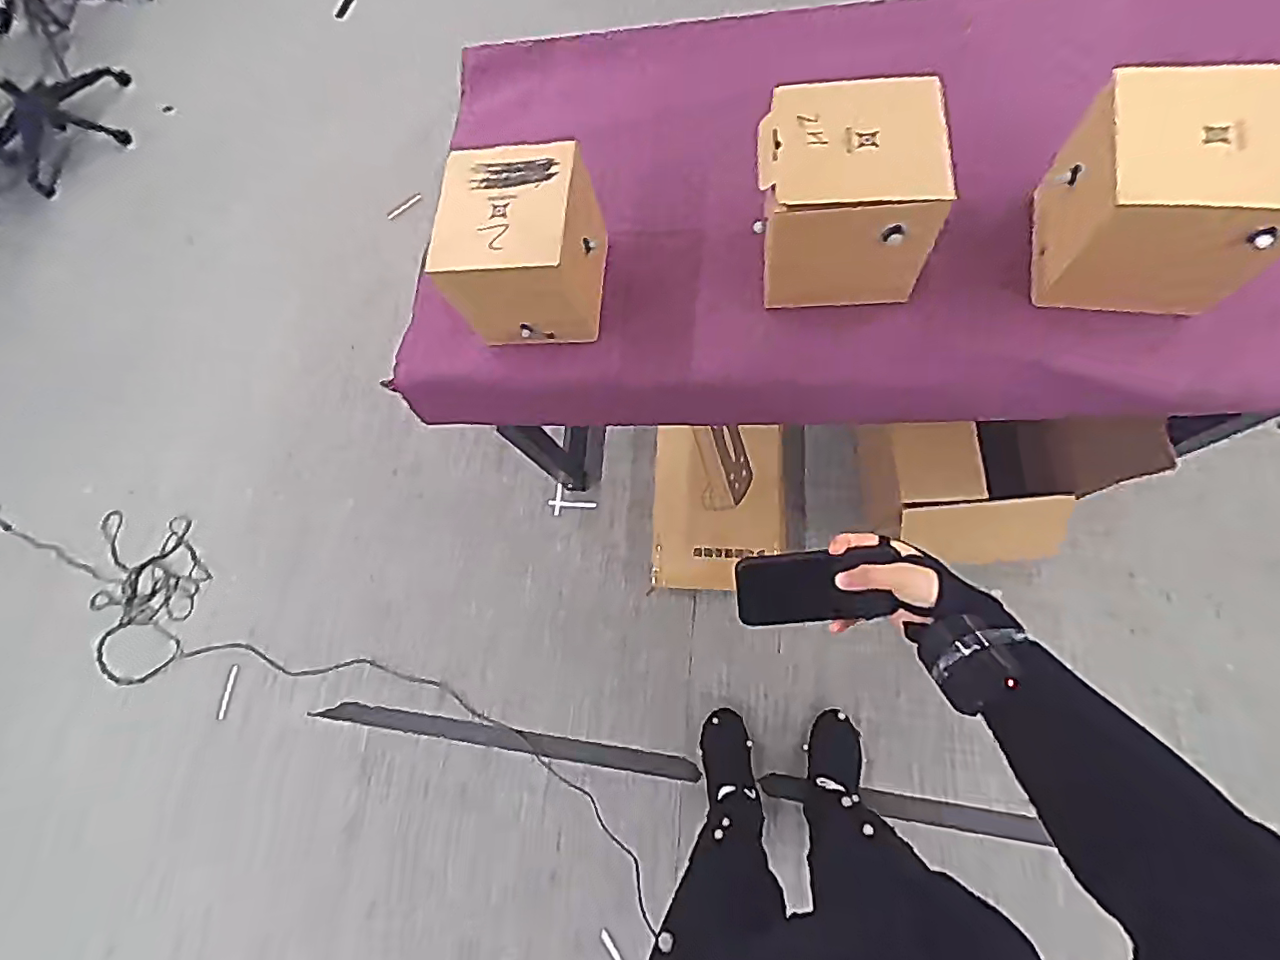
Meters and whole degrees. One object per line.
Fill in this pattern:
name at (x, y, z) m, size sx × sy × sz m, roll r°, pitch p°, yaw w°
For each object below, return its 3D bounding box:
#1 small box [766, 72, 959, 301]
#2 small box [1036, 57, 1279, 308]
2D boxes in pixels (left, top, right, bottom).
small box at (0.245, -0.330, 0.637) m, size 0.179 × 0.176 × 0.168 m, roll 1°, pitch 72°, yaw 11°
small box at (0.555, -0.301, 0.573) m, size 0.179 × 0.176 × 0.168 m, roll 8°, pitch 76°, yaw 12°
